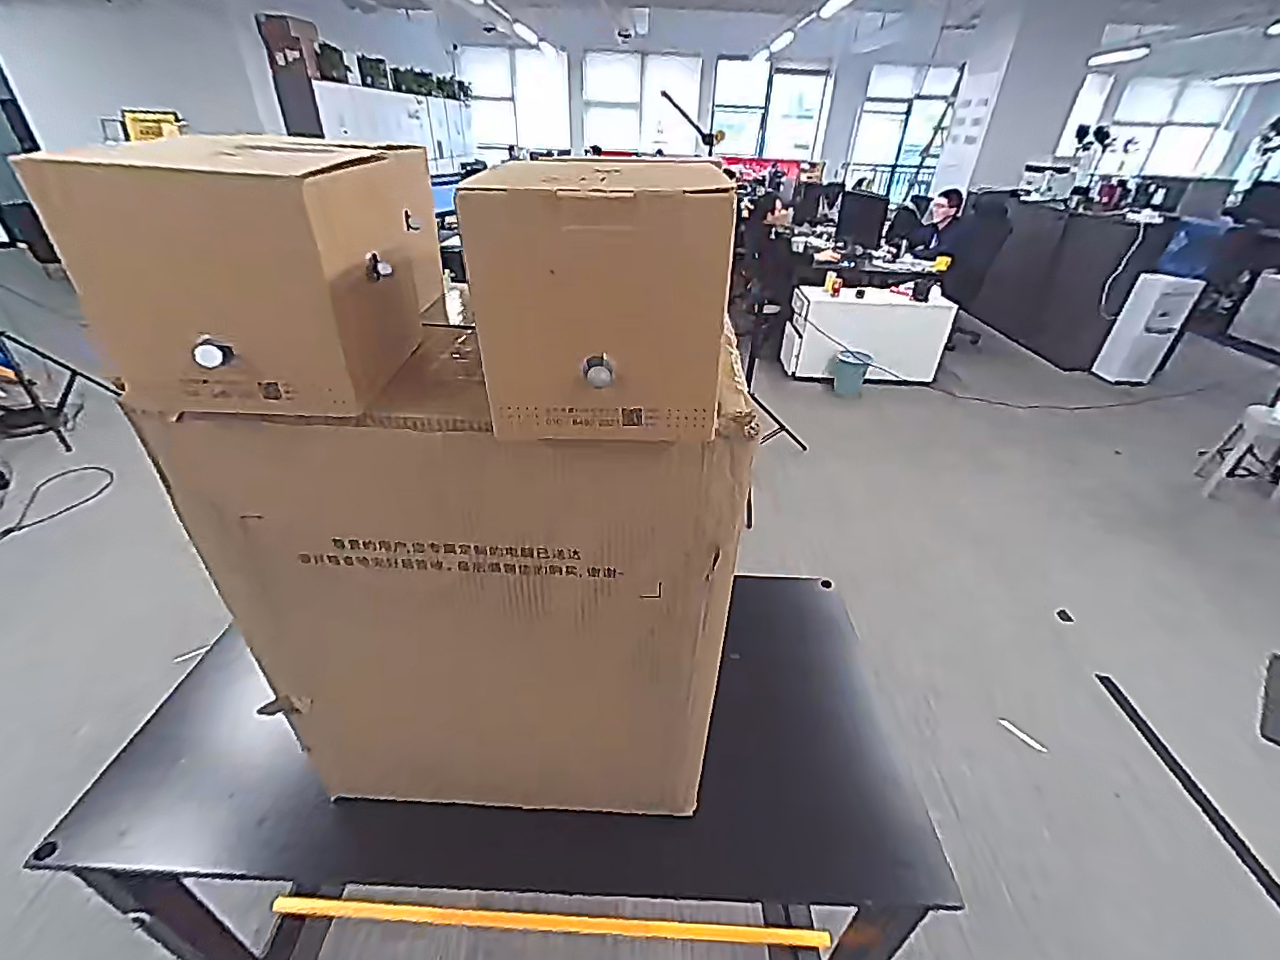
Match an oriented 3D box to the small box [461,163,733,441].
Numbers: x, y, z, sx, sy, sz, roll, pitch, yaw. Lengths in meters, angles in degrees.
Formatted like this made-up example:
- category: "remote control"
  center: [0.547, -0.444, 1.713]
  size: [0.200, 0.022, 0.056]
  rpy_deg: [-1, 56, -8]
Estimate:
- category: "small box"
  center: [-0.025, -0.147, 0.430]
  size: [0.168, 0.176, 0.179]
  rpy_deg: [1, 35, 1]
